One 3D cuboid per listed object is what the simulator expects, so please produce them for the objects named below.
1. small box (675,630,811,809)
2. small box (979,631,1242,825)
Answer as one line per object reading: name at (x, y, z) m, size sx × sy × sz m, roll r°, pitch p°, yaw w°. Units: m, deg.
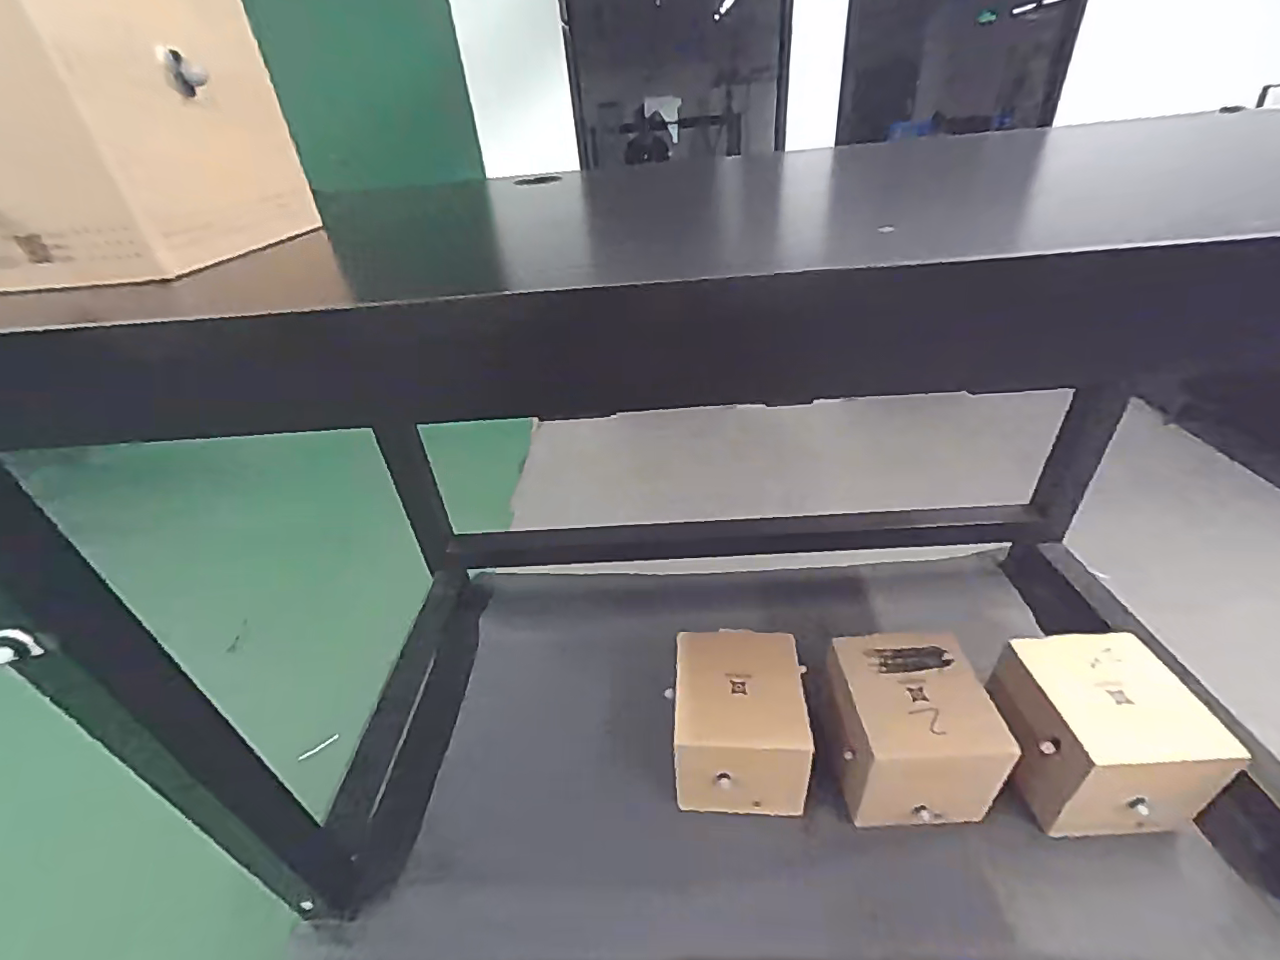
small box at (0.138, 0.334, 0.760) m, size 0.168 × 0.176 × 0.179 m, roll -1°, pitch 34°, yaw 6°
small box at (0.583, 0.324, 0.704) m, size 0.168 × 0.176 × 0.179 m, roll -4°, pitch 33°, yaw 2°
